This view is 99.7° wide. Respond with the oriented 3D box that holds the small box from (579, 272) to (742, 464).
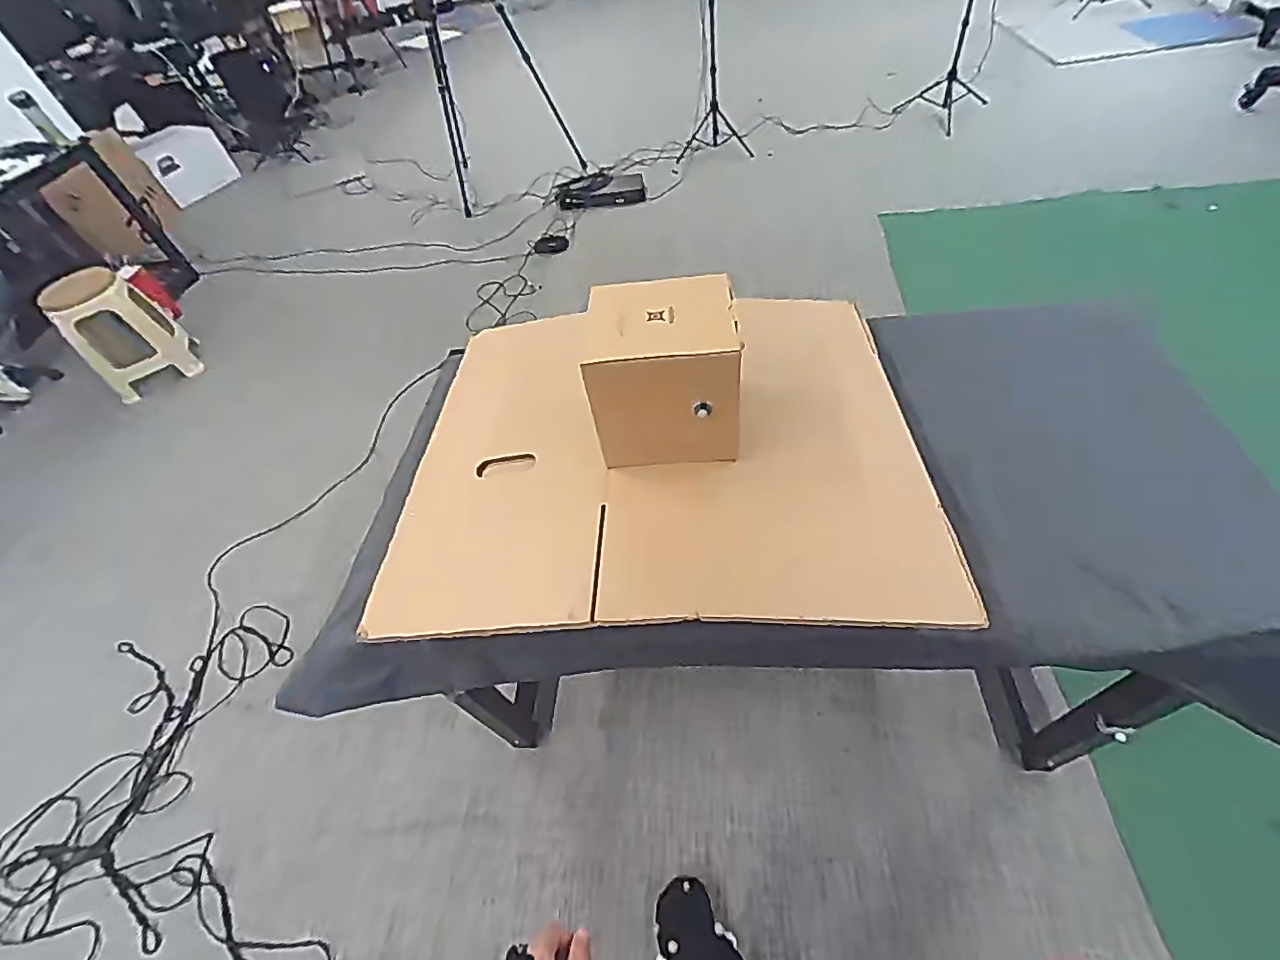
[{"bbox_3d":[0.032,-0.137,0.683,0.179,0.176,0.168,-4,48,6],"label":"small box"}]
